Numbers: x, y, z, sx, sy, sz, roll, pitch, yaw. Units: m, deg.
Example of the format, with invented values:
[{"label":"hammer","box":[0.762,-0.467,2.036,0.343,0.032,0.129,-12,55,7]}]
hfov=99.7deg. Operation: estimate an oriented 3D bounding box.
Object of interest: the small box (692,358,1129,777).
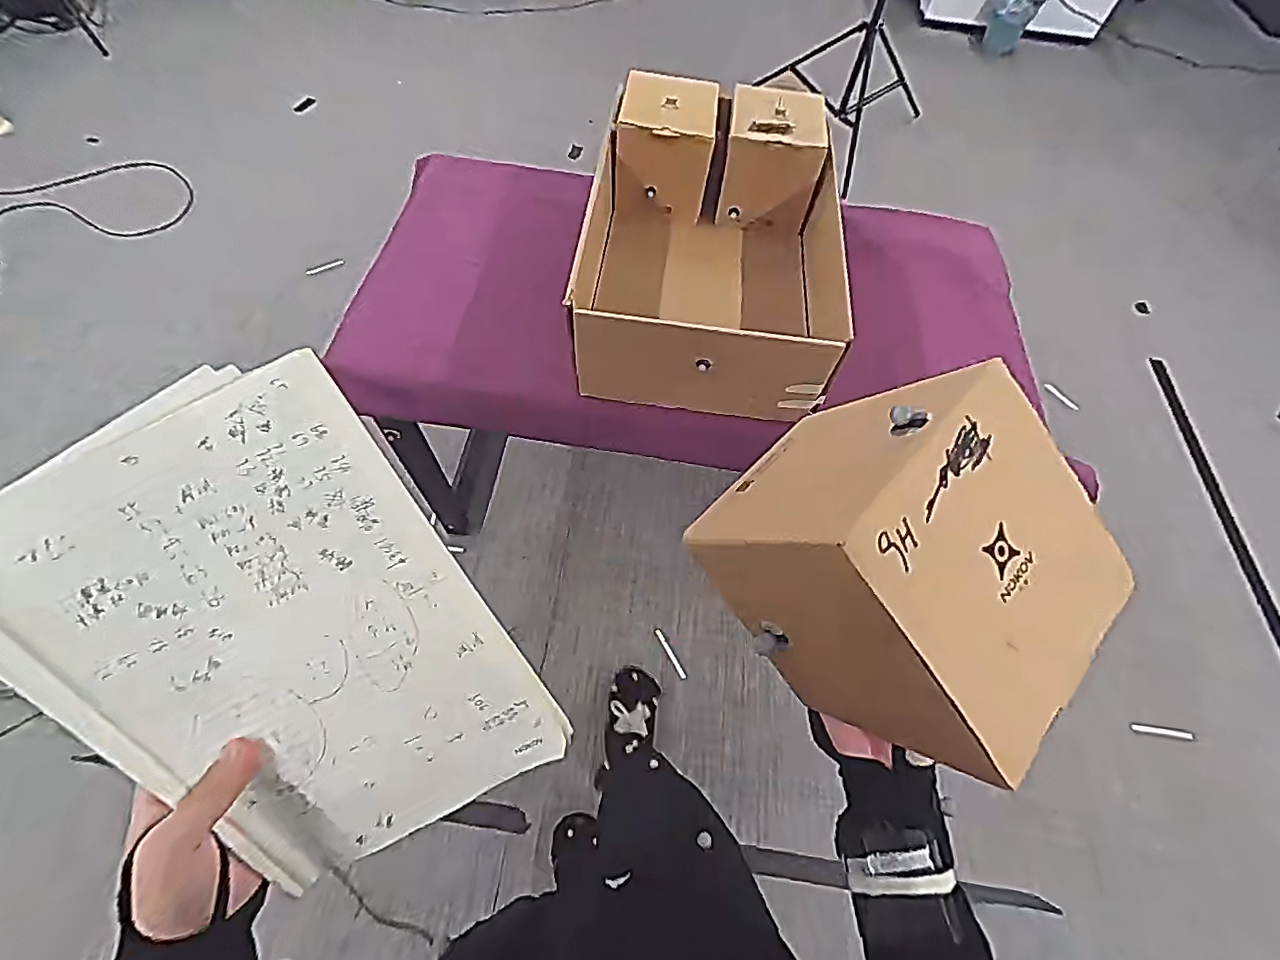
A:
[{"label":"small box","box":[0.171,0.049,0.372,0.168,0.176,0.179,-41,101,-21]}]
